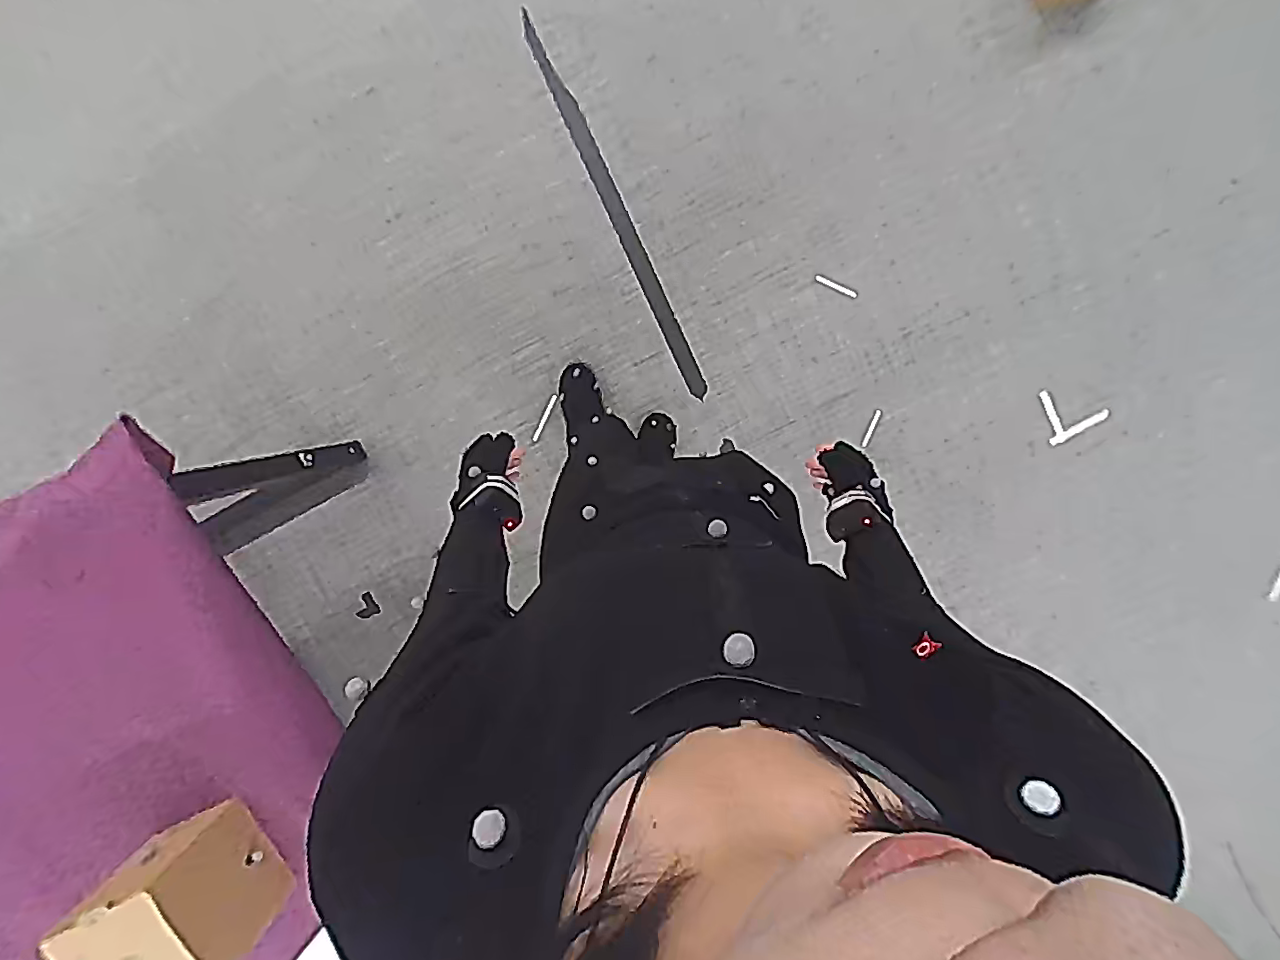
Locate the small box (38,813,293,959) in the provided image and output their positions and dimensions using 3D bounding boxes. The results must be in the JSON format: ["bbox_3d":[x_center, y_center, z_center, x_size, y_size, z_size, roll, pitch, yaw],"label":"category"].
[{"bbox_3d":[-0.650,0.615,0.766,0.168,0.176,0.179,-27,97,4],"label":"small box"}]

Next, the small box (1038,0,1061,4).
[{"bbox_3d":[1.045,-1.263,1.258,0.168,0.176,0.179,-15,97,0],"label":"small box"}]
